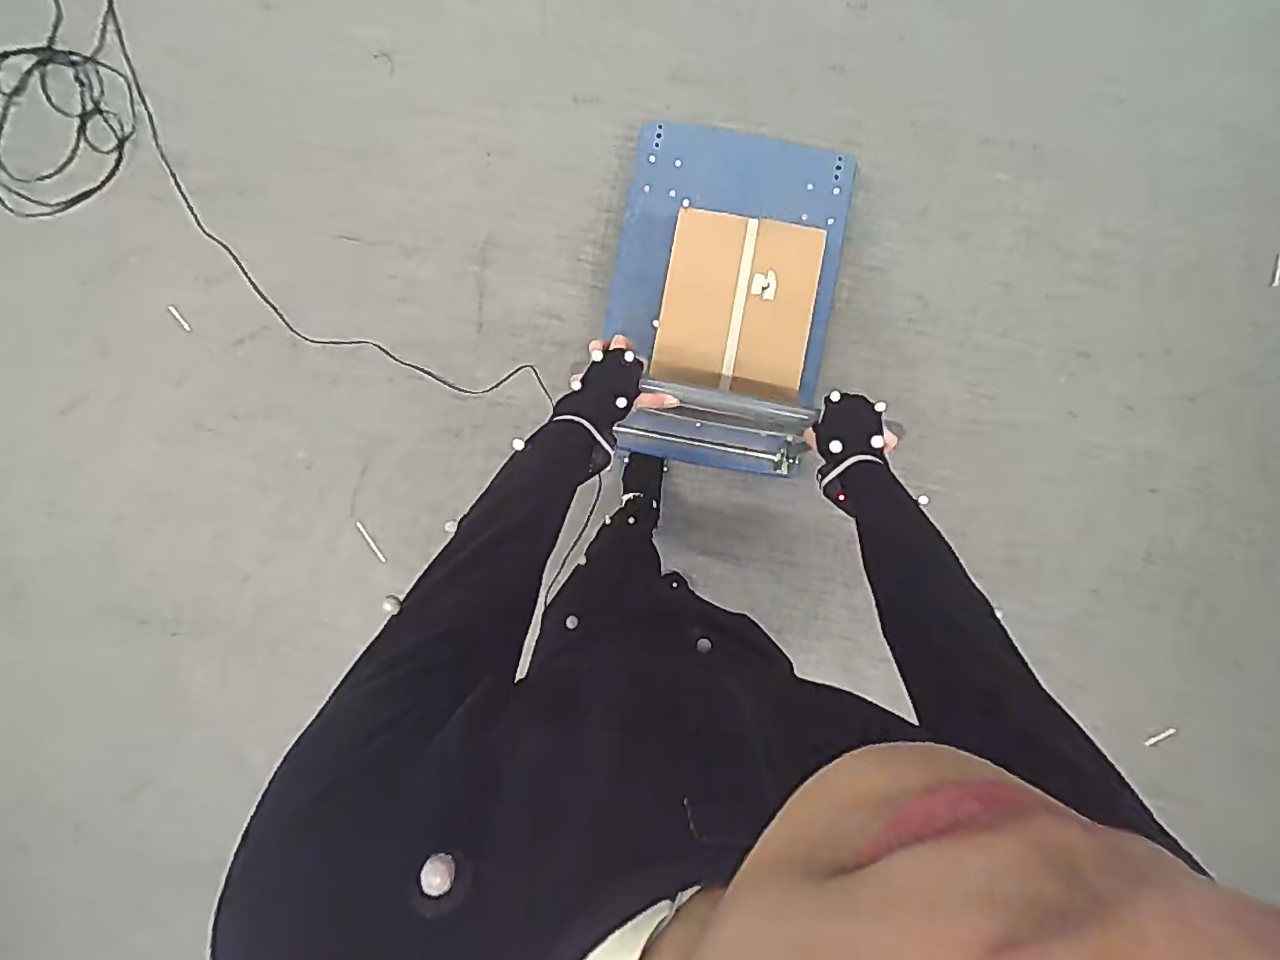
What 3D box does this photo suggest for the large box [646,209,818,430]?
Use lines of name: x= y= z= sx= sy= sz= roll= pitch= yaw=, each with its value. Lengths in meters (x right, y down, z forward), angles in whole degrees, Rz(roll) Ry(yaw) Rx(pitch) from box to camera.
large box: x=0.198 y=-0.350 z=1.283 sx=0.320 sy=0.320 sz=0.408 roll=10 pitch=89 yaw=1
